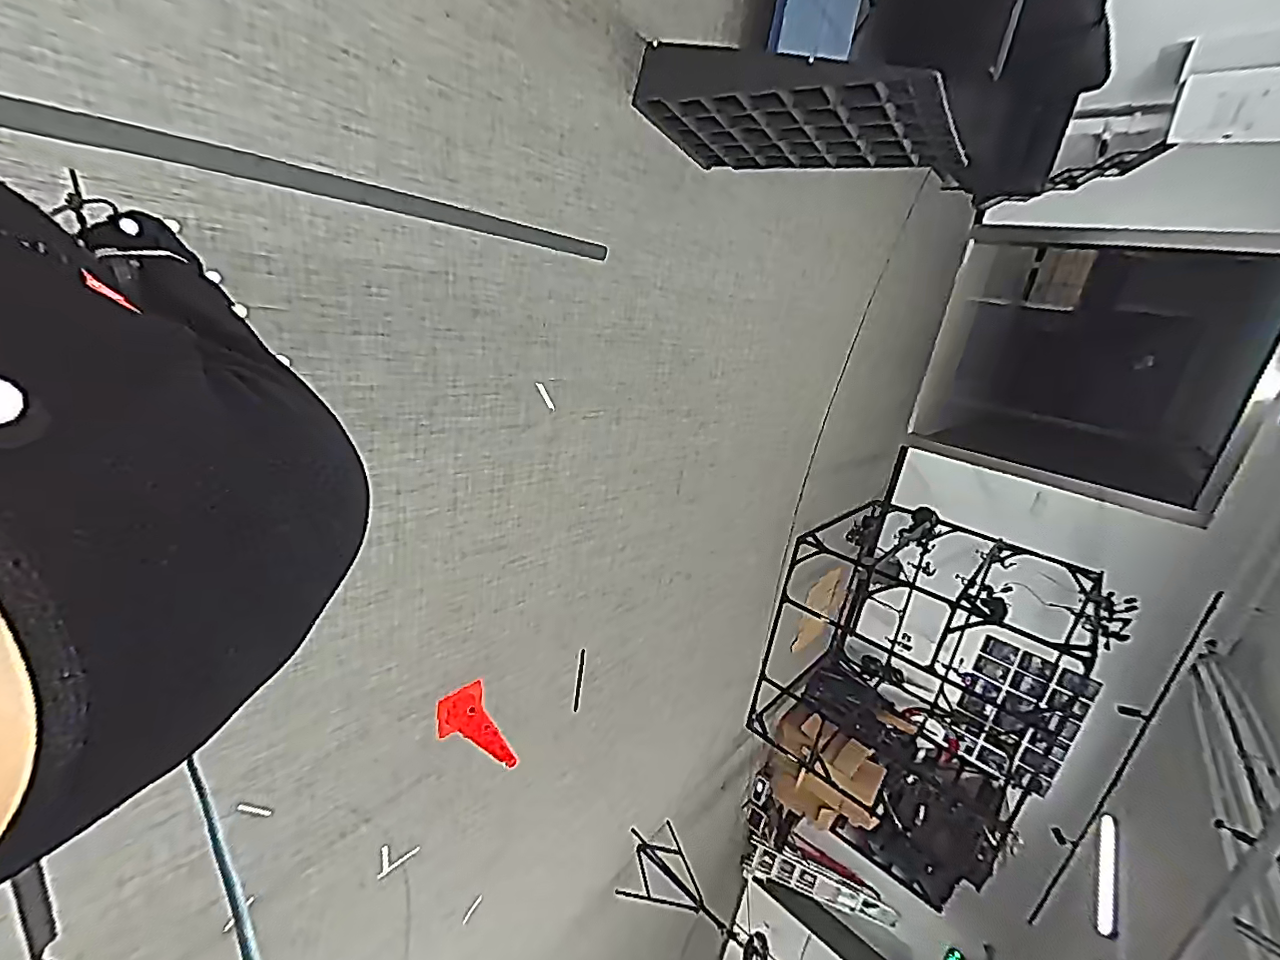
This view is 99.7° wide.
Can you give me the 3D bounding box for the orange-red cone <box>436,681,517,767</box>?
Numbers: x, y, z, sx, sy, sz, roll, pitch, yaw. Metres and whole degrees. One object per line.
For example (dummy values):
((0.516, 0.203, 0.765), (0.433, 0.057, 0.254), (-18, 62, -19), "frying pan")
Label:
((-0.592, 0.964, 2.048), (0.198, 0.360, 0.199), (-18, 121, -47), "orange-red cone")
